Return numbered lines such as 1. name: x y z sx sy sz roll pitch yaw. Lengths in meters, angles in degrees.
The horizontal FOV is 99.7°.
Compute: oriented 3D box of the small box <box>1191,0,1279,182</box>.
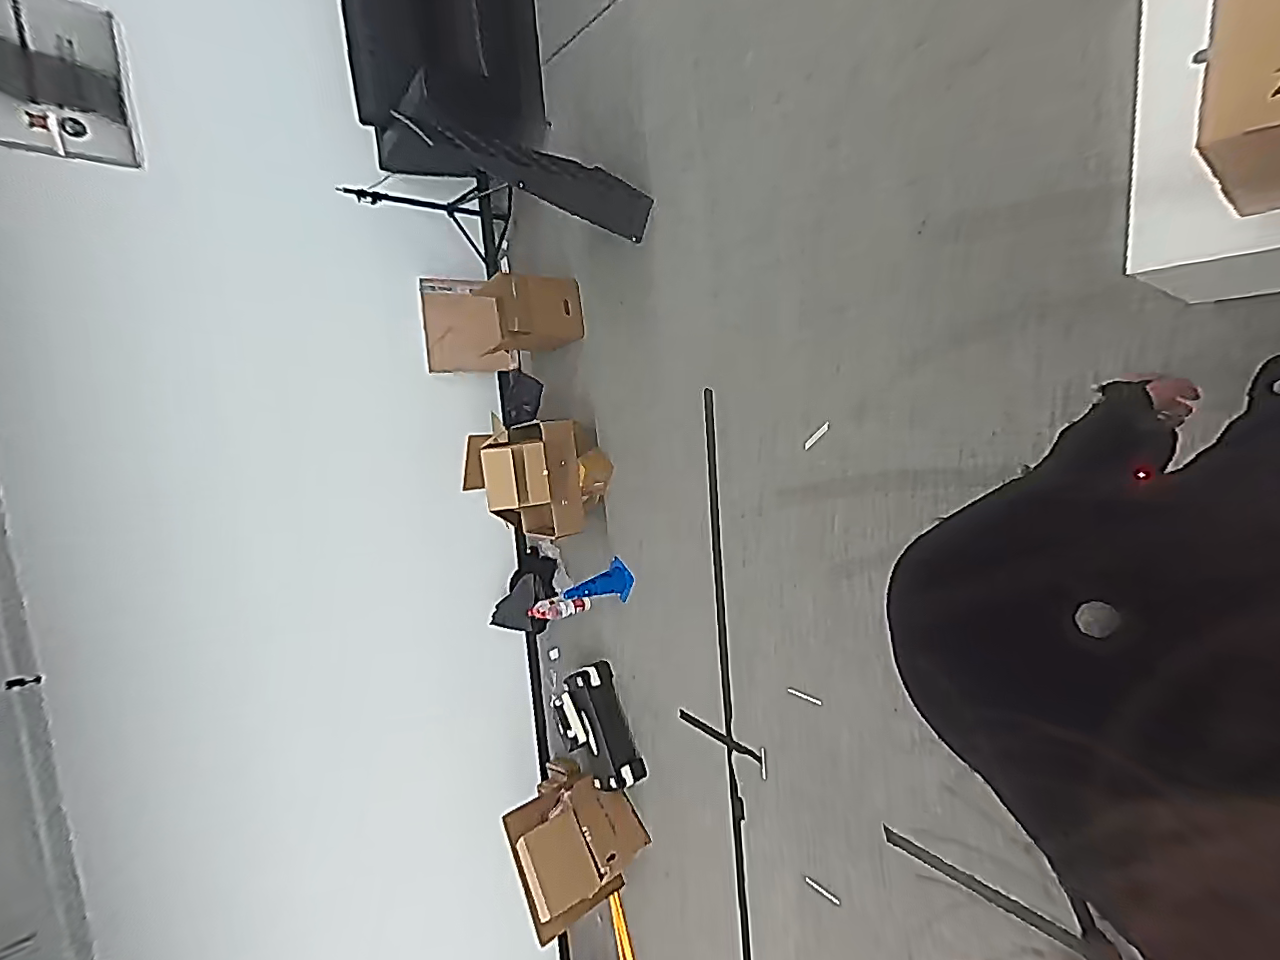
1. small box: 0.627 -0.395 0.477 0.168 0.176 0.179 11 105 52
